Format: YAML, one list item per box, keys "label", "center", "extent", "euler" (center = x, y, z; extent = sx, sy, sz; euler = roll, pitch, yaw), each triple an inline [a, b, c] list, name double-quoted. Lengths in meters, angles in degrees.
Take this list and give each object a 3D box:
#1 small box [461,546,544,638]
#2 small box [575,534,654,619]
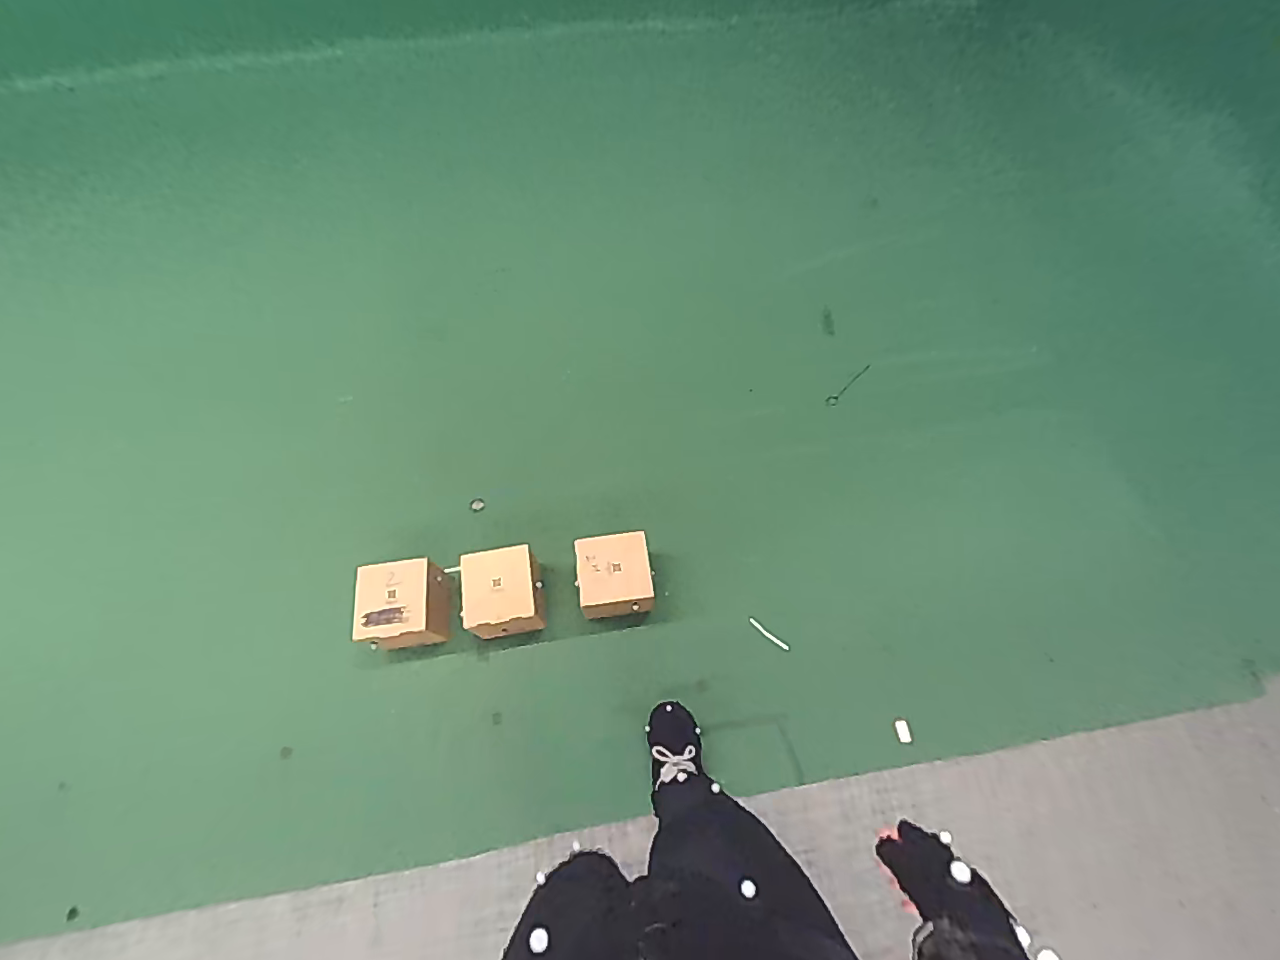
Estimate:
- label: "small box"
  center: [-0.338, 0.280, 1.342]
  extent: [0.168, 0.176, 0.179]
  euler: [-9, 67, -5]
- label: "small box"
  center: [-0.065, 0.246, 1.358]
  extent: [0.179, 0.176, 0.168]
  euler: [-7, 66, -4]
